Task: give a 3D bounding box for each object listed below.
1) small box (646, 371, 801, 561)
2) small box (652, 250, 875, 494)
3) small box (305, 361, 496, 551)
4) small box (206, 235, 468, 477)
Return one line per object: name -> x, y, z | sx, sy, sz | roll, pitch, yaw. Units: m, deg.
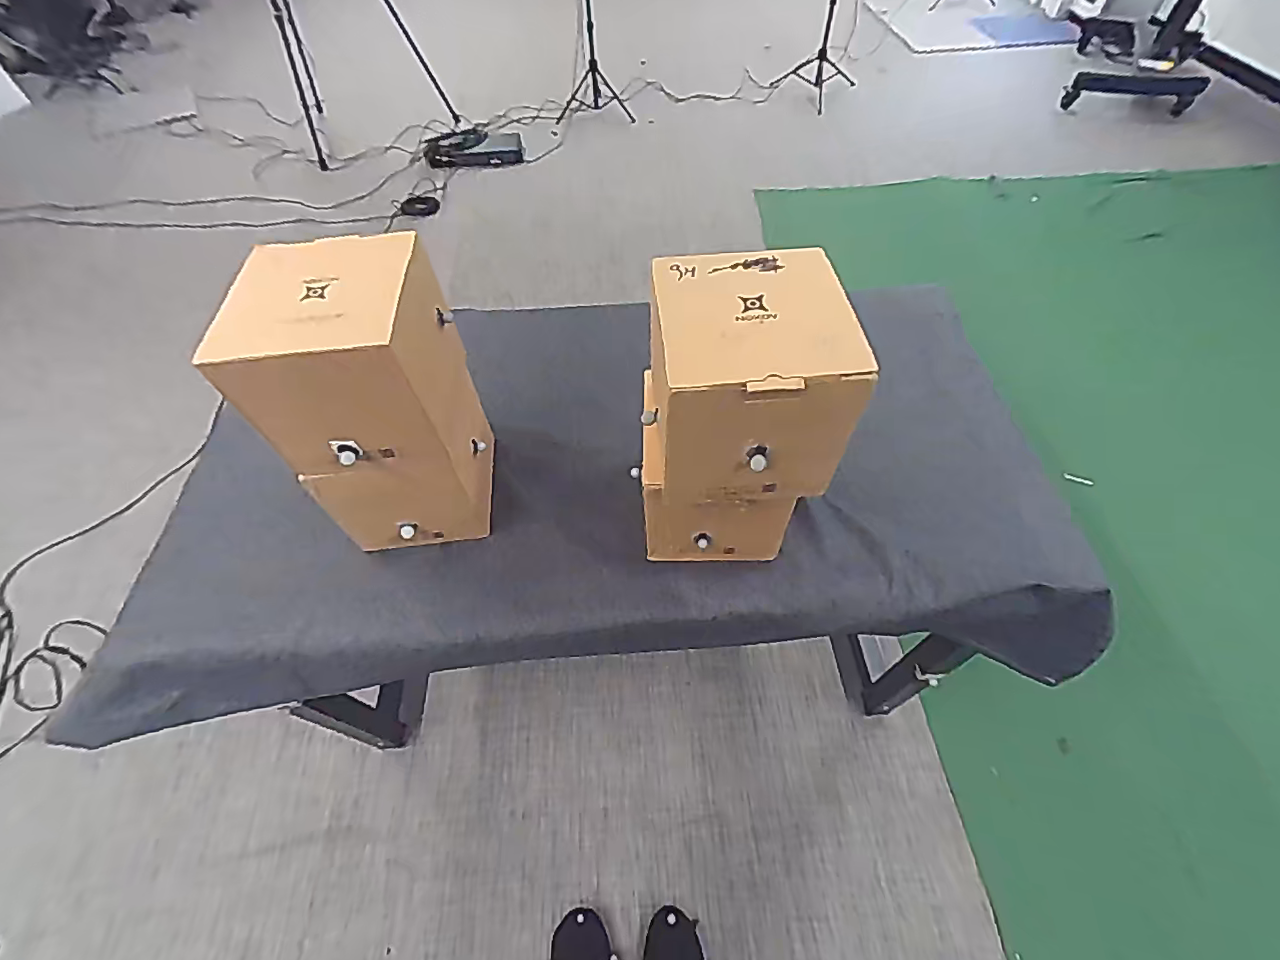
small box -> 0.091, -0.016, 0.675 | 0.168, 0.176, 0.179 | -1, 54, 1
small box -> 0.101, -0.097, 0.532 | 0.168, 0.176, 0.179 | -4, 55, -1
small box -> -0.288, -0.030, 0.697 | 0.168, 0.176, 0.179 | -7, 55, -3
small box -> -0.288, -0.126, 0.566 | 0.168, 0.176, 0.179 | -7, 55, -2
